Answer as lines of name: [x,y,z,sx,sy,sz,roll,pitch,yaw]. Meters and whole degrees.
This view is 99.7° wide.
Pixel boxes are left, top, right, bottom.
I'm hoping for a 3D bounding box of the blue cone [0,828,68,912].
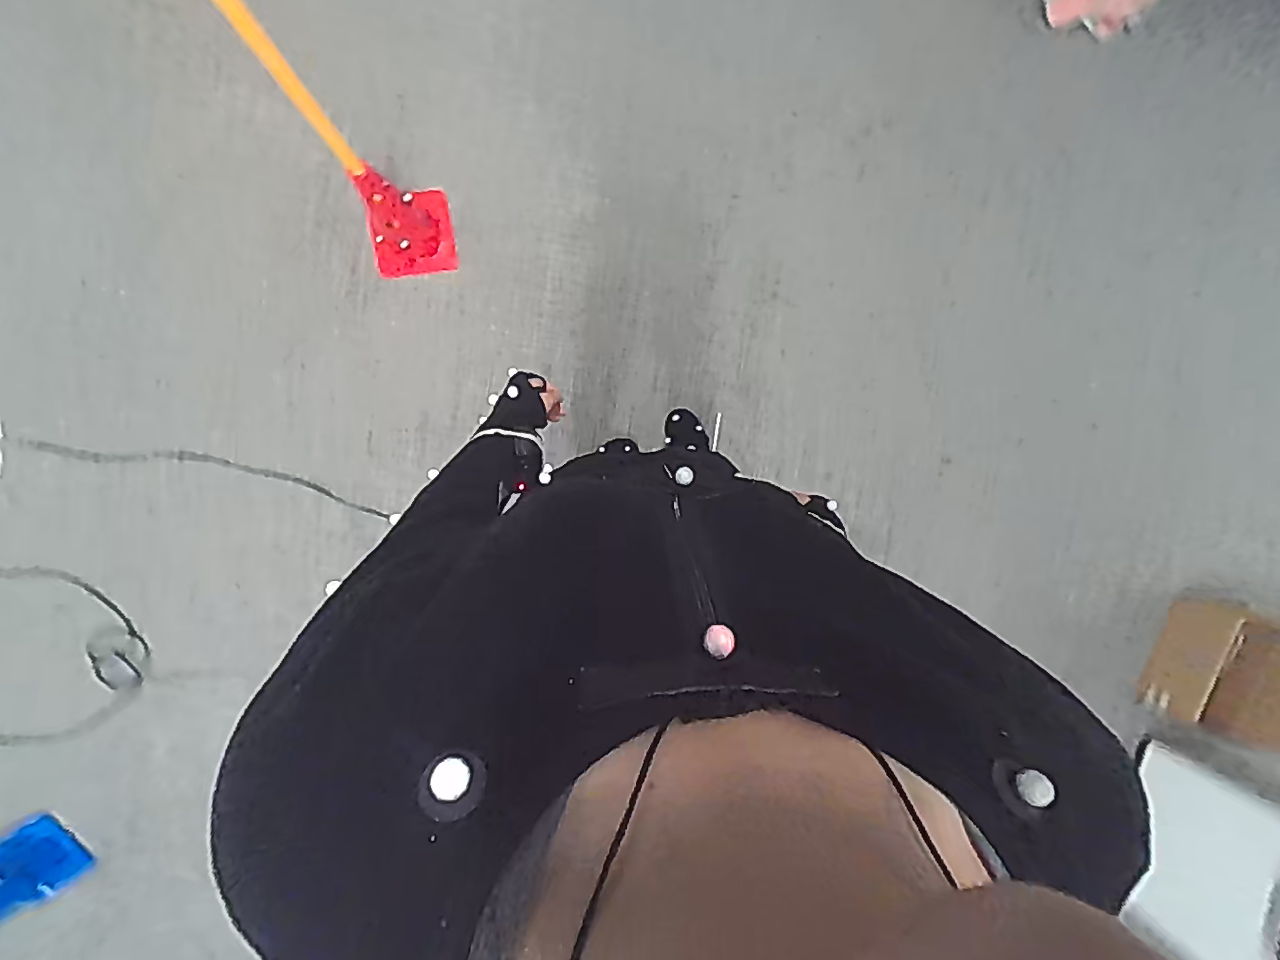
blue cone: [-1.547,1.001,1.201,0.192,0.380,0.193,-36,101,-4]
